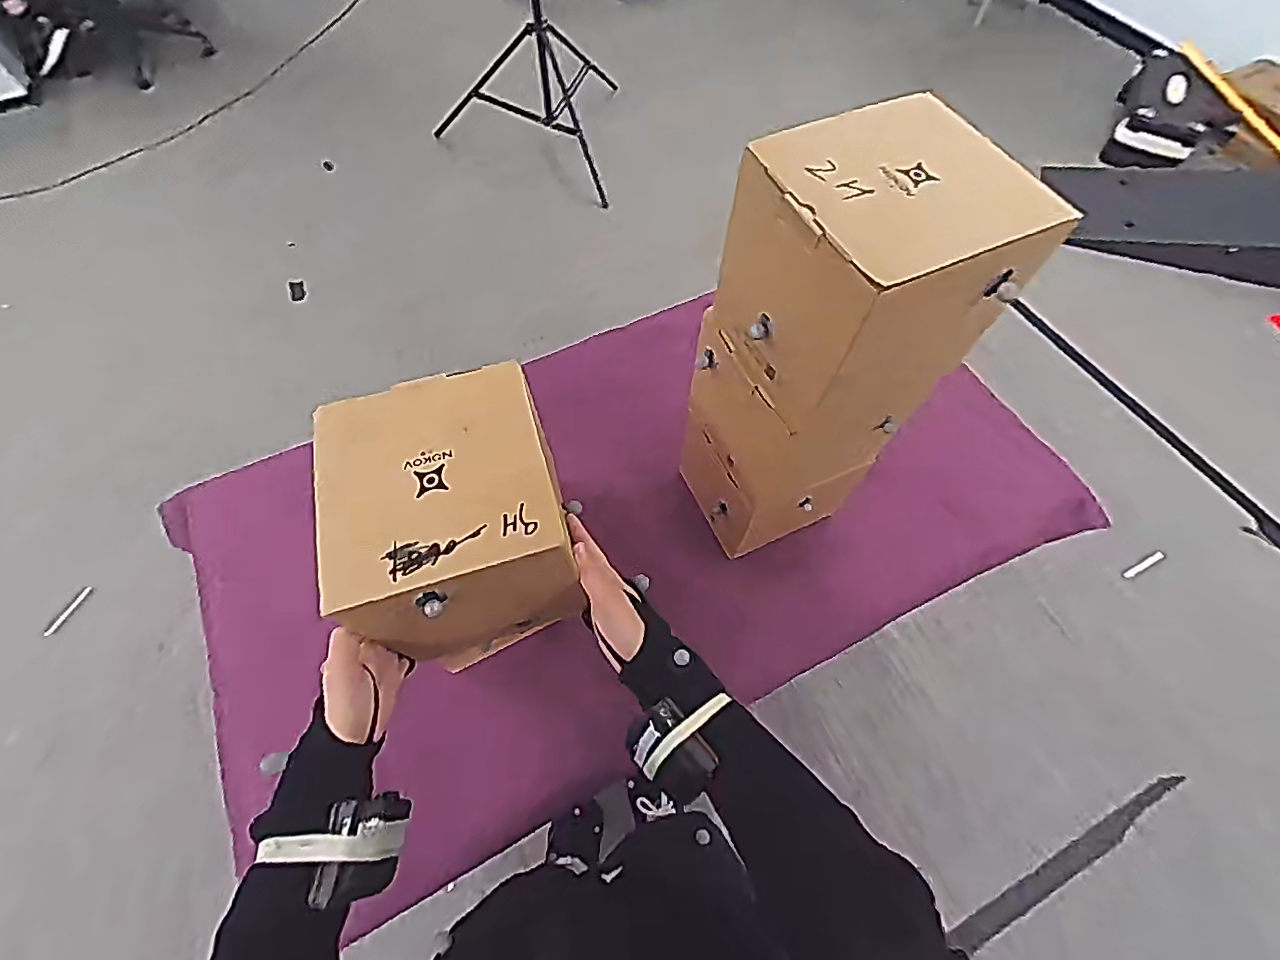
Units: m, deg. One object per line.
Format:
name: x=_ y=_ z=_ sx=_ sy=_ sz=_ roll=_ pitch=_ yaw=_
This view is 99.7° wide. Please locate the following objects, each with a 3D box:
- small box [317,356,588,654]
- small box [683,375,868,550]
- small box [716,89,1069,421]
small box: x=-0.149 y=0.029 z=0.464 sx=0.168 sy=0.176 sz=0.179 roll=-16 pitch=62 yaw=-6
small box: x=0.169 y=-0.026 z=0.747 sx=0.179 sy=0.176 sz=0.168 roll=-22 pitch=66 yaw=-13
small box: x=0.183 y=-0.180 z=0.456 sx=0.179 sy=0.176 sz=0.168 roll=-23 pitch=65 yaw=-12
